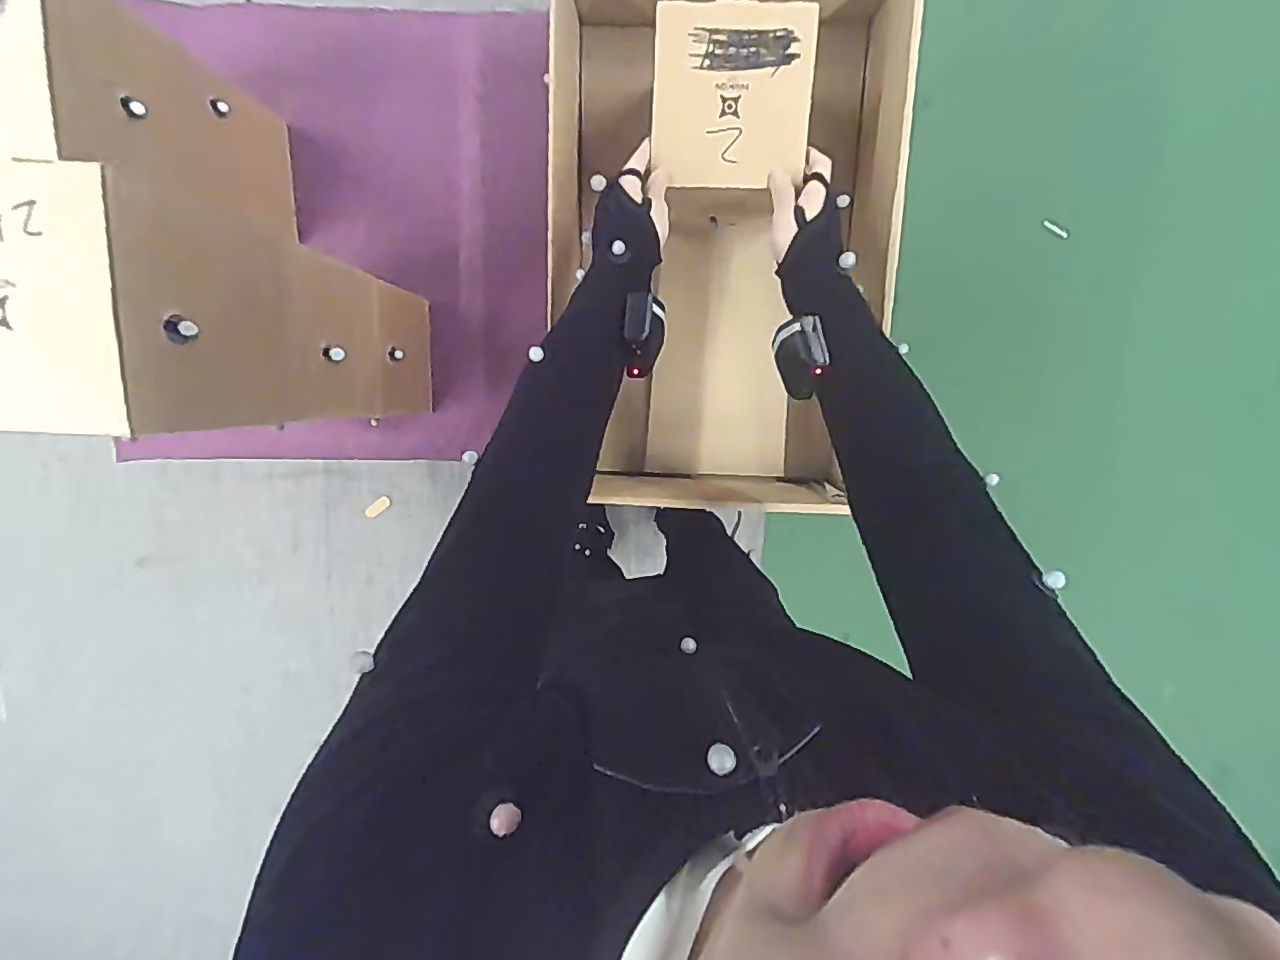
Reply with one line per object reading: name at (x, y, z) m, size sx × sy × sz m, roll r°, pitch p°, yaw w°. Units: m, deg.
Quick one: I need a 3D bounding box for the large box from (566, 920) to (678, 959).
large box at (-0.065, 1.734, 1.721) m, size 0.408 × 0.320 × 0.320 m, roll -30°, pitch 98°, yaw 6°

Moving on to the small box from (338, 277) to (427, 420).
small box at (-0.410, -0.178, 0.753) m, size 0.168 × 0.176 × 0.179 m, roll 2°, pitch 98°, yaw 2°

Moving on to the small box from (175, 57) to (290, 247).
small box at (-0.603, -0.420, 0.724) m, size 0.168 × 0.176 × 0.179 m, roll 1°, pitch 99°, yaw 3°

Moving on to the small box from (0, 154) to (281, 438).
small box at (-0.418, -0.131, 0.428) m, size 0.168 × 0.176 × 0.179 m, roll 3°, pitch 98°, yaw 1°

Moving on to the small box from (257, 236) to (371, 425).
small box at (-0.416, -0.156, 0.592) m, size 0.168 × 0.176 × 0.179 m, roll 2°, pitch 99°, yaw 1°

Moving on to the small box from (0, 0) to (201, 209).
small box at (-0.604, -0.396, 0.561) m, size 0.168 × 0.176 × 0.179 m, roll 5°, pitch 100°, yaw 2°
